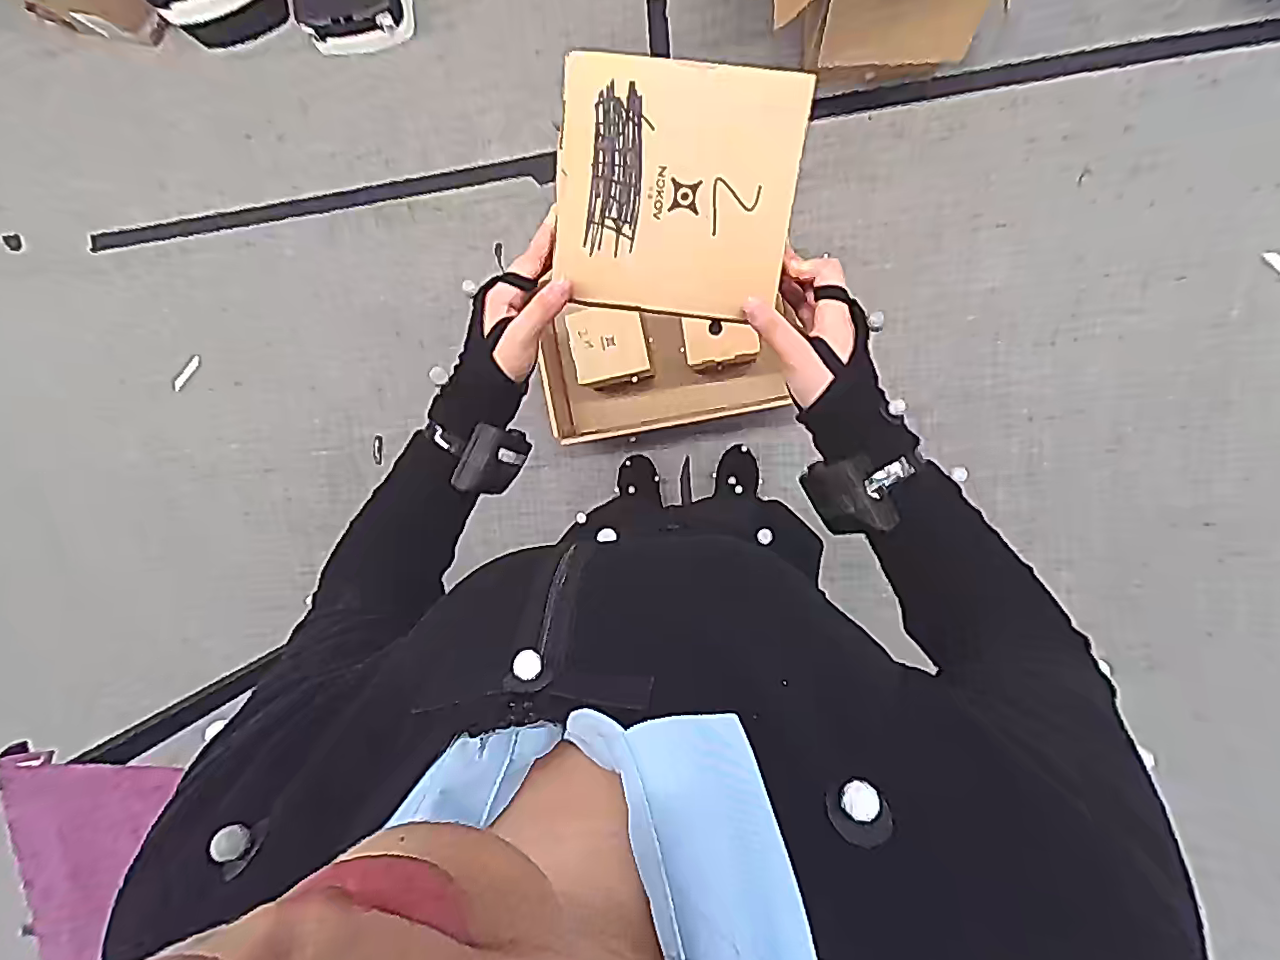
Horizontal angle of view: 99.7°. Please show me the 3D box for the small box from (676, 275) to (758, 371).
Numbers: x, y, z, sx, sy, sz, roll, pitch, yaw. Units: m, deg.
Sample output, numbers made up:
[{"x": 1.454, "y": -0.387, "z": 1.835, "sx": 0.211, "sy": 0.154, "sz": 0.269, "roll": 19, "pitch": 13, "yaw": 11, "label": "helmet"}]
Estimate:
[{"x": 0.183, "y": -0.367, "z": 1.295, "sx": 0.168, "sy": 0.176, "sz": 0.179, "roll": -9, "pitch": 96, "yaw": 9, "label": "small box"}]

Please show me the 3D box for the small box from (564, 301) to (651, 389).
[{"x": -0.071, "y": -0.325, "z": 1.331, "sx": 0.179, "sy": 0.176, "sz": 0.168, "roll": -11, "pitch": 94, "yaw": 8, "label": "small box"}]
